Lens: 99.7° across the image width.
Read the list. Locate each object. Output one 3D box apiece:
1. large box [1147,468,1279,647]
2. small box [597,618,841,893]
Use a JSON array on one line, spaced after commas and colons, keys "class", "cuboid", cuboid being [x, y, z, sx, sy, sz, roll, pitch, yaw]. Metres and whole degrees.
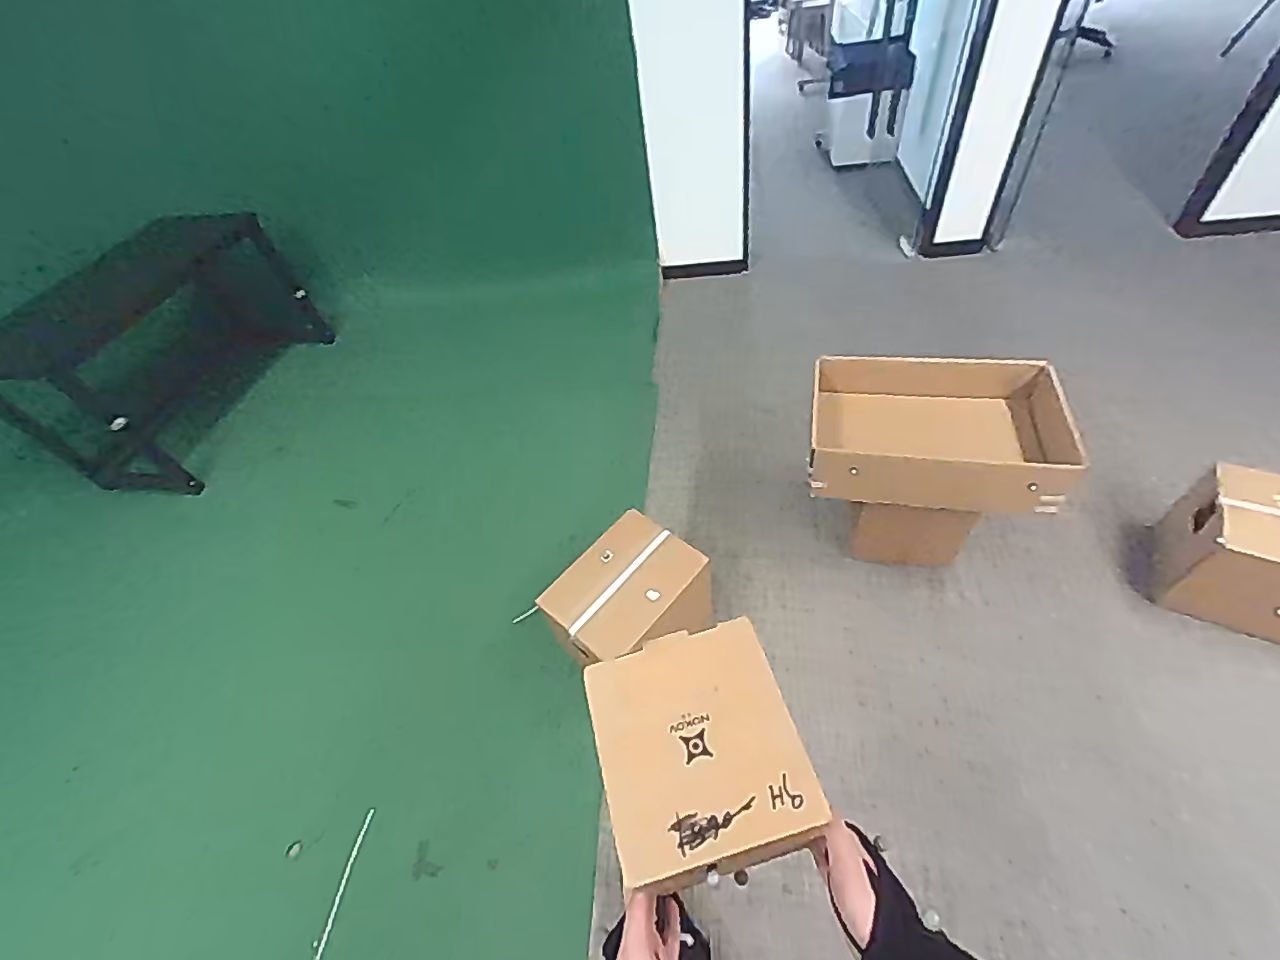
[{"class": "large box", "cuboid": [1.694, 0.223, 1.450, 0.408, 0.320, 0.320, 18, 55, 25]}, {"class": "small box", "cuboid": [0.067, 0.264, 0.516, 0.168, 0.176, 0.179, -16, 50, -1]}]
